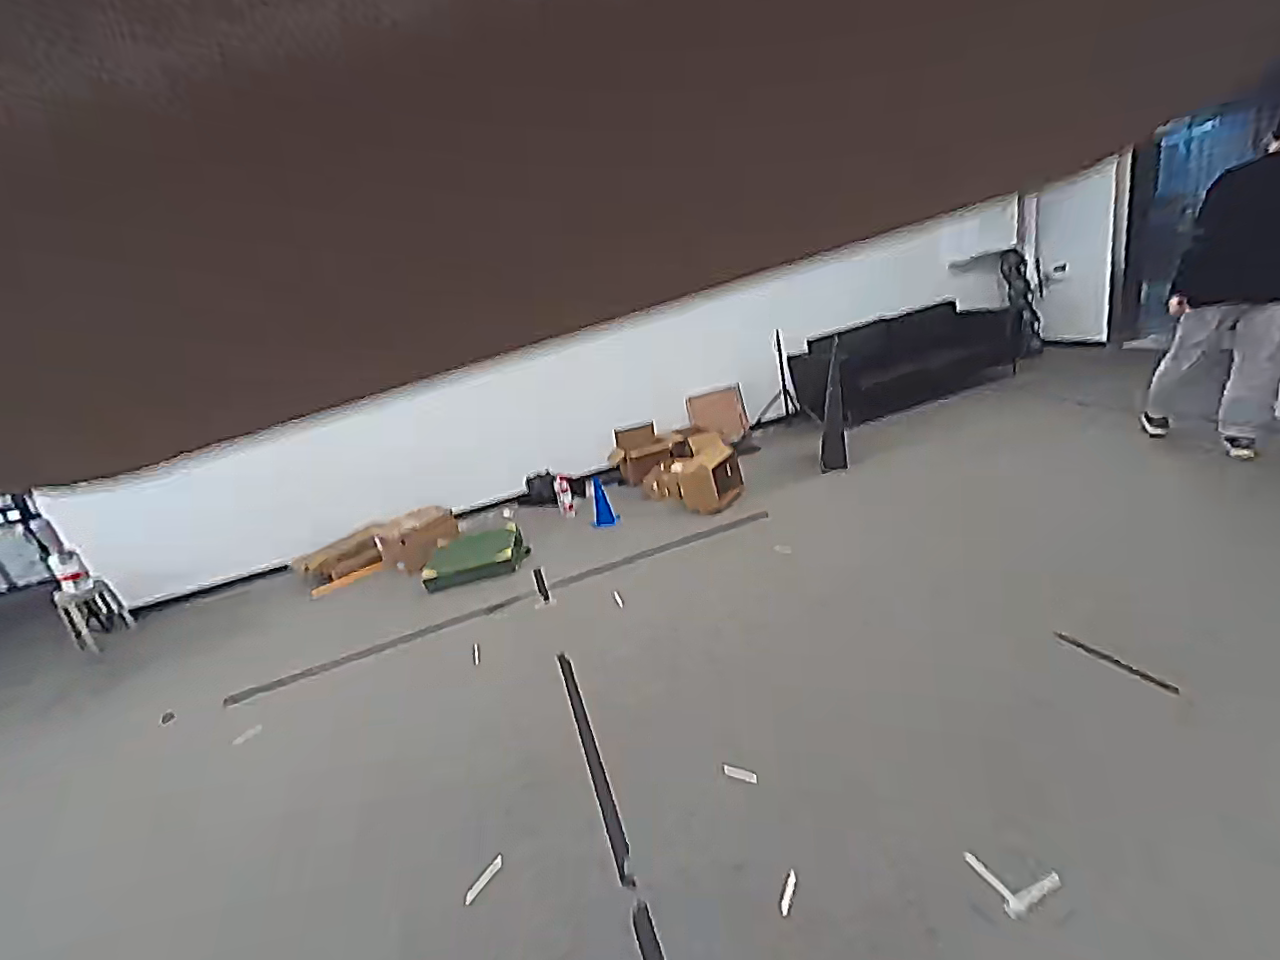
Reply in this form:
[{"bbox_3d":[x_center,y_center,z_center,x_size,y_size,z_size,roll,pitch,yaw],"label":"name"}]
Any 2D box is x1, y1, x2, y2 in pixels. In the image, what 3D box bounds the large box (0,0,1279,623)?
[{"bbox_3d":[-0.023,-0.186,0.122,0.408,0.320,0.320,-21,-7,-6],"label":"large box"}]
